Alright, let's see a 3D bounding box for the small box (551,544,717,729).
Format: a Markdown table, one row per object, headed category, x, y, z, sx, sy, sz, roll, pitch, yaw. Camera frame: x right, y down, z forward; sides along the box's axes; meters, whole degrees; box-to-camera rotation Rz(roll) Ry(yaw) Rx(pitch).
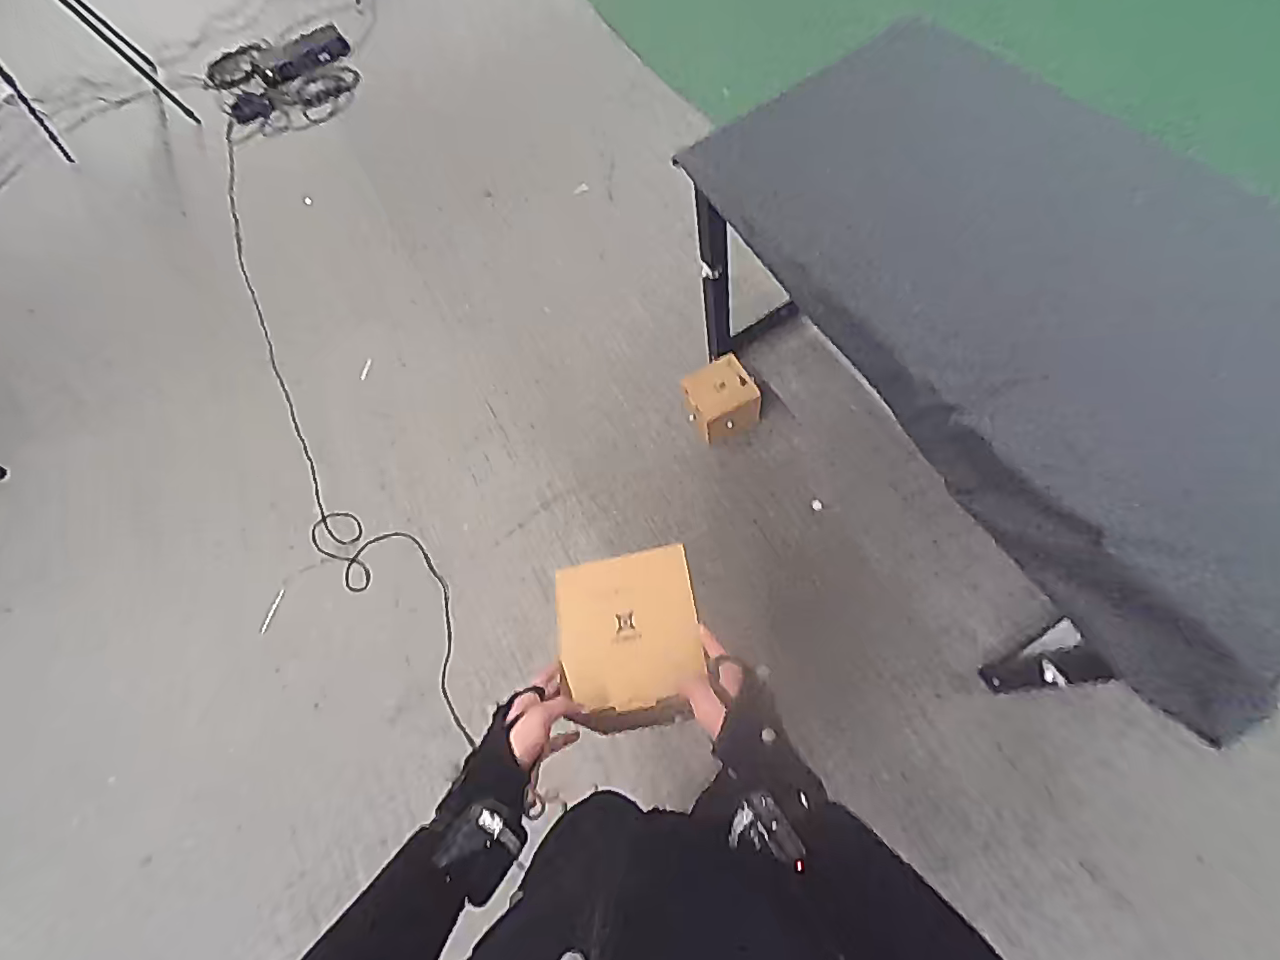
| category | x | y | z | sx | sy | sz | roll | pitch | yaw |
| --- | --- | --- | --- | --- | --- | --- | --- | --- | --- |
| small box | -0.004 | 0.207 | 0.685 | 0.168 | 0.176 | 0.179 | -13 | 56 | 6 |
